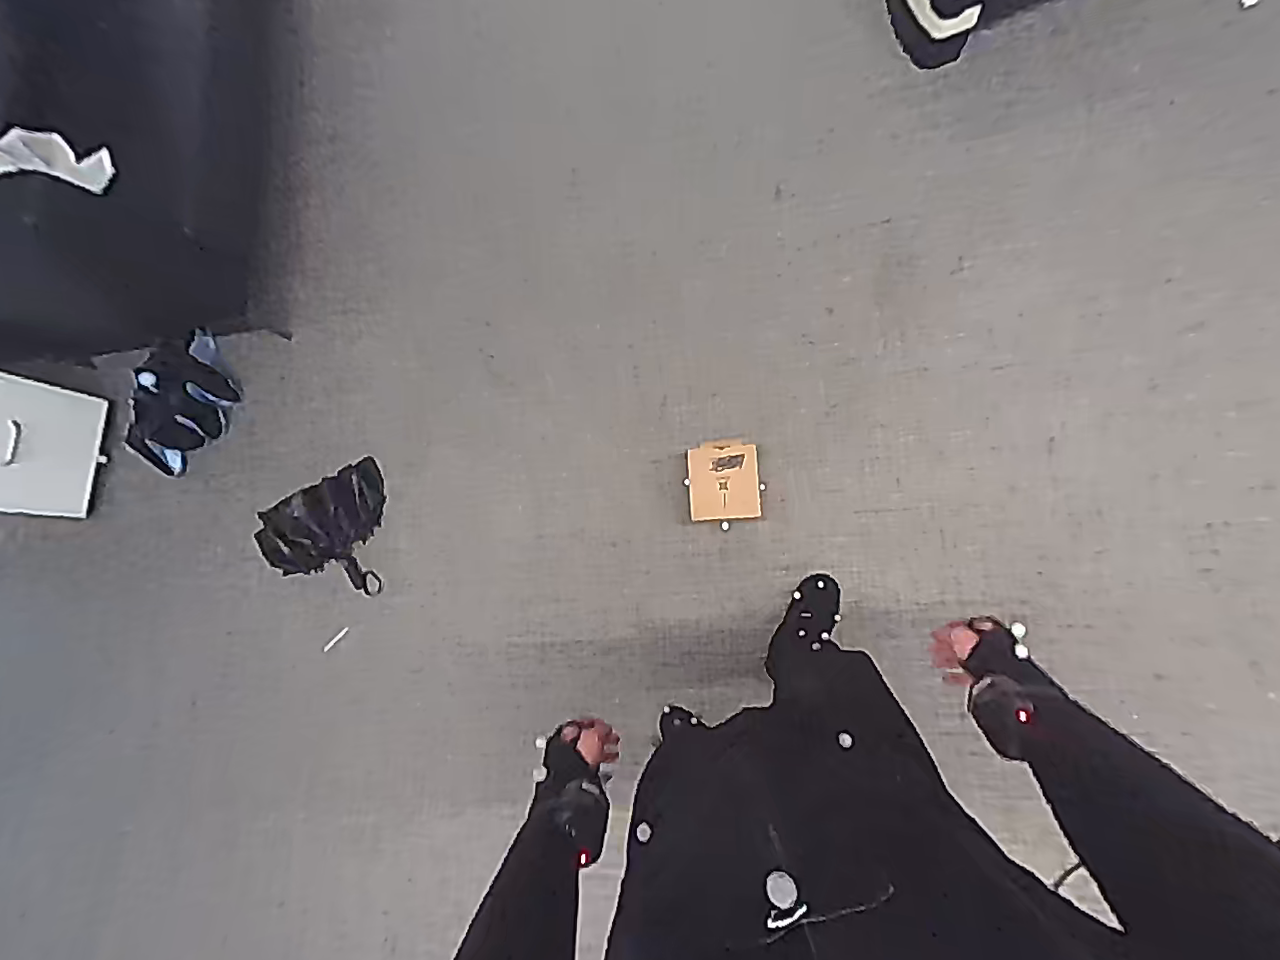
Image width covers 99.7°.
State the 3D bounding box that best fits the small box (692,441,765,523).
[{"bbox_3d":[0.222,0.011,1.353,0.168,0.176,0.179,-4,81,12],"label":"small box"}]
